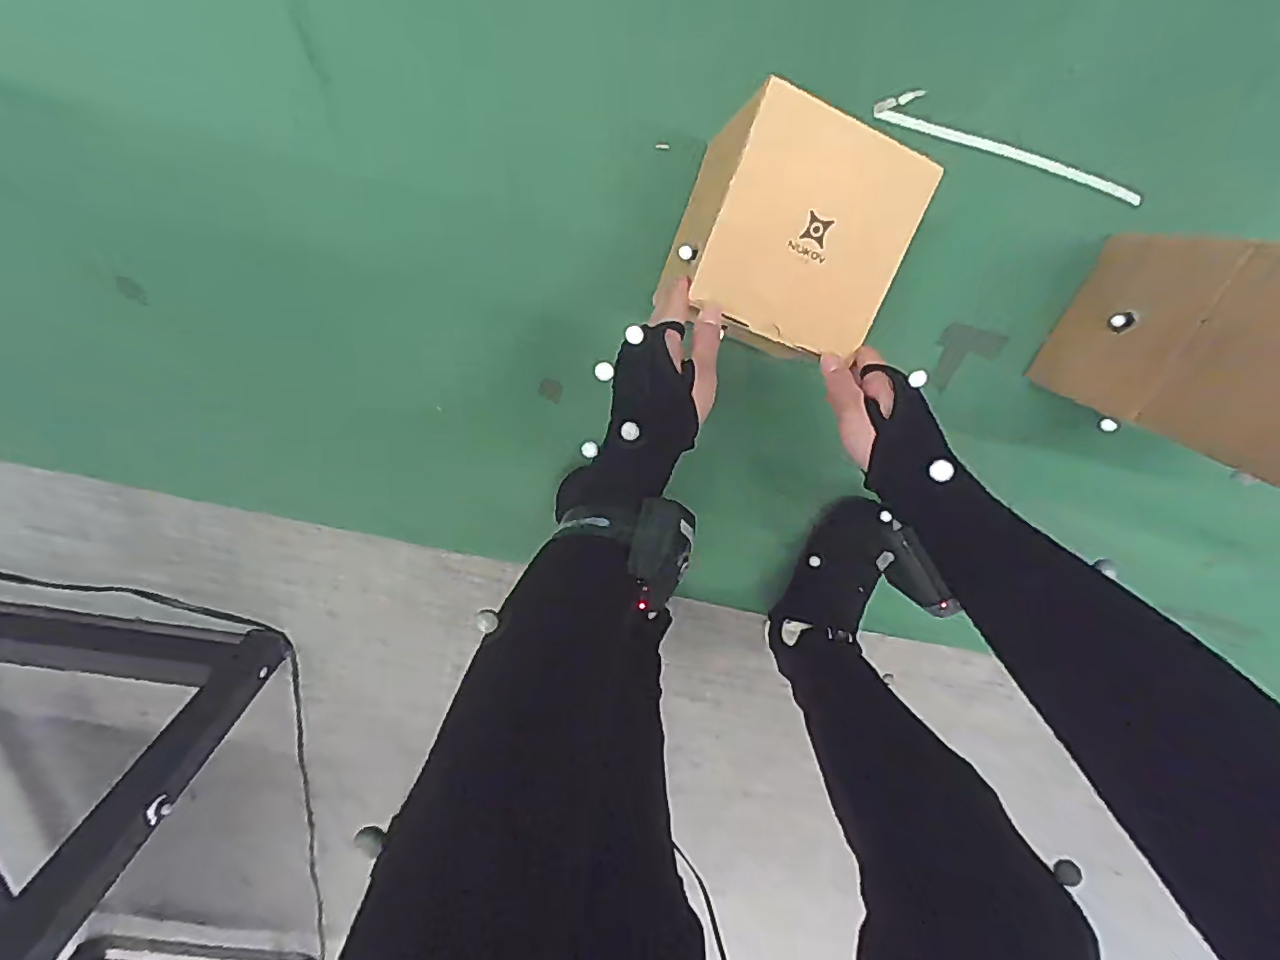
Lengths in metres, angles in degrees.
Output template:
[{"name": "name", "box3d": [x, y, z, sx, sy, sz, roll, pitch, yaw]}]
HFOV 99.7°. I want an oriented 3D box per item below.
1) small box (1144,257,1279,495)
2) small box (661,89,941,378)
[{"name": "small box", "box3d": [0.585, -0.068, 0.437, 0.168, 0.176, 0.179, 14, 116, -8]}, {"name": "small box", "box3d": [0.133, -0.216, 0.518, 0.168, 0.176, 0.179, 18, 103, -14]}]
